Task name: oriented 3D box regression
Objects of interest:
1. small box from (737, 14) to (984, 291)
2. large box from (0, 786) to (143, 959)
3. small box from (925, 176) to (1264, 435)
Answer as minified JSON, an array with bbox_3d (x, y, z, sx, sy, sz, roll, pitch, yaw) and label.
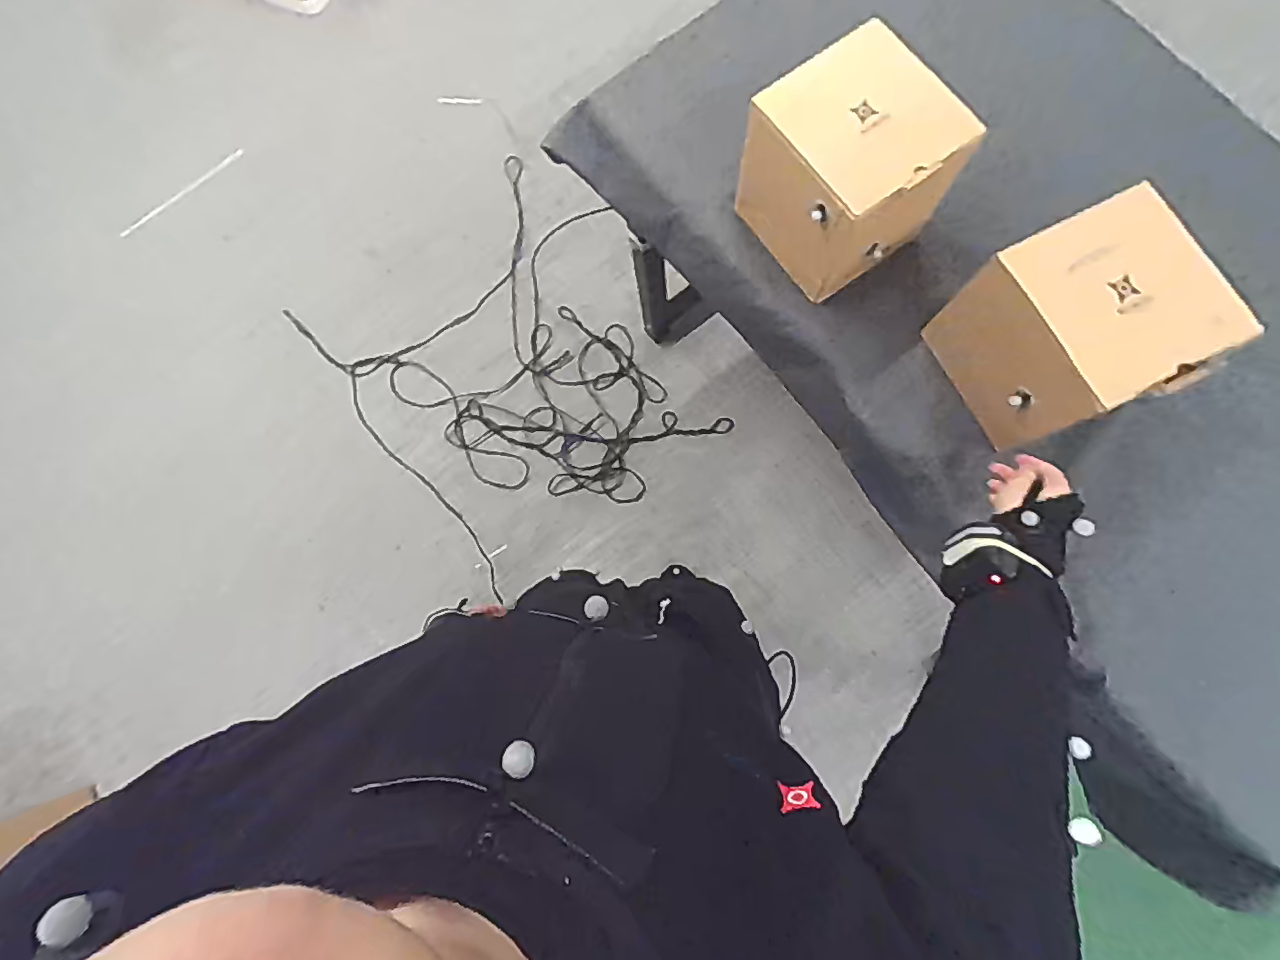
[{"bbox_3d":[0.231,-0.359,0.621,0.168,0.176,0.179,-35,80,-3],"label":"small box"},{"bbox_3d":[-1.437,0.996,1.201,0.320,0.320,0.408,-30,77,-2],"label":"large box"},{"bbox_3d":[0.447,-0.163,0.569,0.168,0.176,0.179,-27,78,-2],"label":"small box"}]
